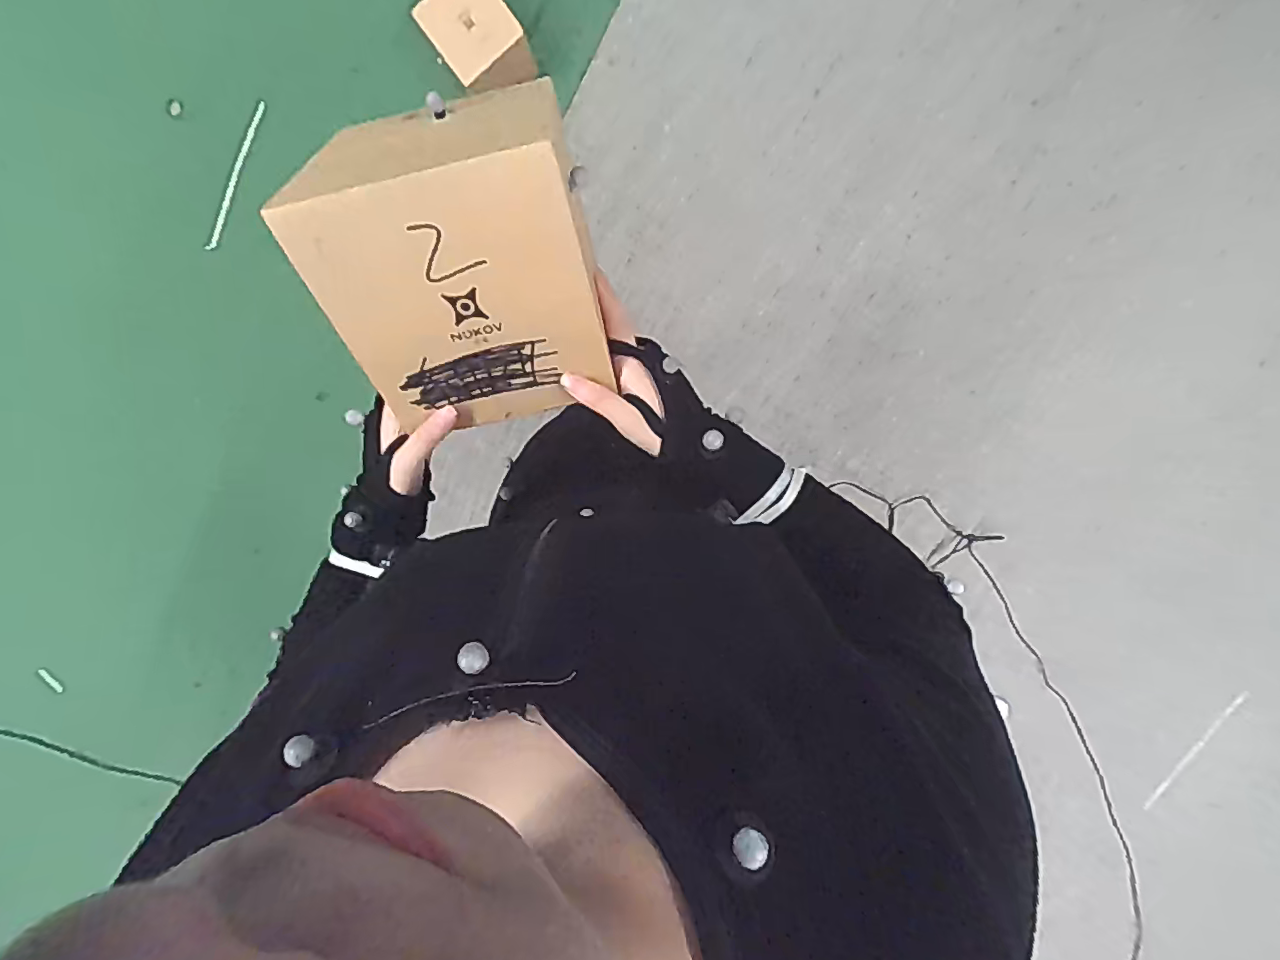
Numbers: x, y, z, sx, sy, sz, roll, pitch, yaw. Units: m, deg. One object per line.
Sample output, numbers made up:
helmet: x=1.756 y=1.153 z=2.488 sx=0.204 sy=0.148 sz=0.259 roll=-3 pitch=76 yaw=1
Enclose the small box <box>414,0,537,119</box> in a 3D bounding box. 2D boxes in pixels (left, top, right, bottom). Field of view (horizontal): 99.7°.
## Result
small box: x=-0.352 y=-0.953 z=1.192 sx=0.168 sy=0.176 sz=0.179 roll=-36 pitch=100 yaw=8
